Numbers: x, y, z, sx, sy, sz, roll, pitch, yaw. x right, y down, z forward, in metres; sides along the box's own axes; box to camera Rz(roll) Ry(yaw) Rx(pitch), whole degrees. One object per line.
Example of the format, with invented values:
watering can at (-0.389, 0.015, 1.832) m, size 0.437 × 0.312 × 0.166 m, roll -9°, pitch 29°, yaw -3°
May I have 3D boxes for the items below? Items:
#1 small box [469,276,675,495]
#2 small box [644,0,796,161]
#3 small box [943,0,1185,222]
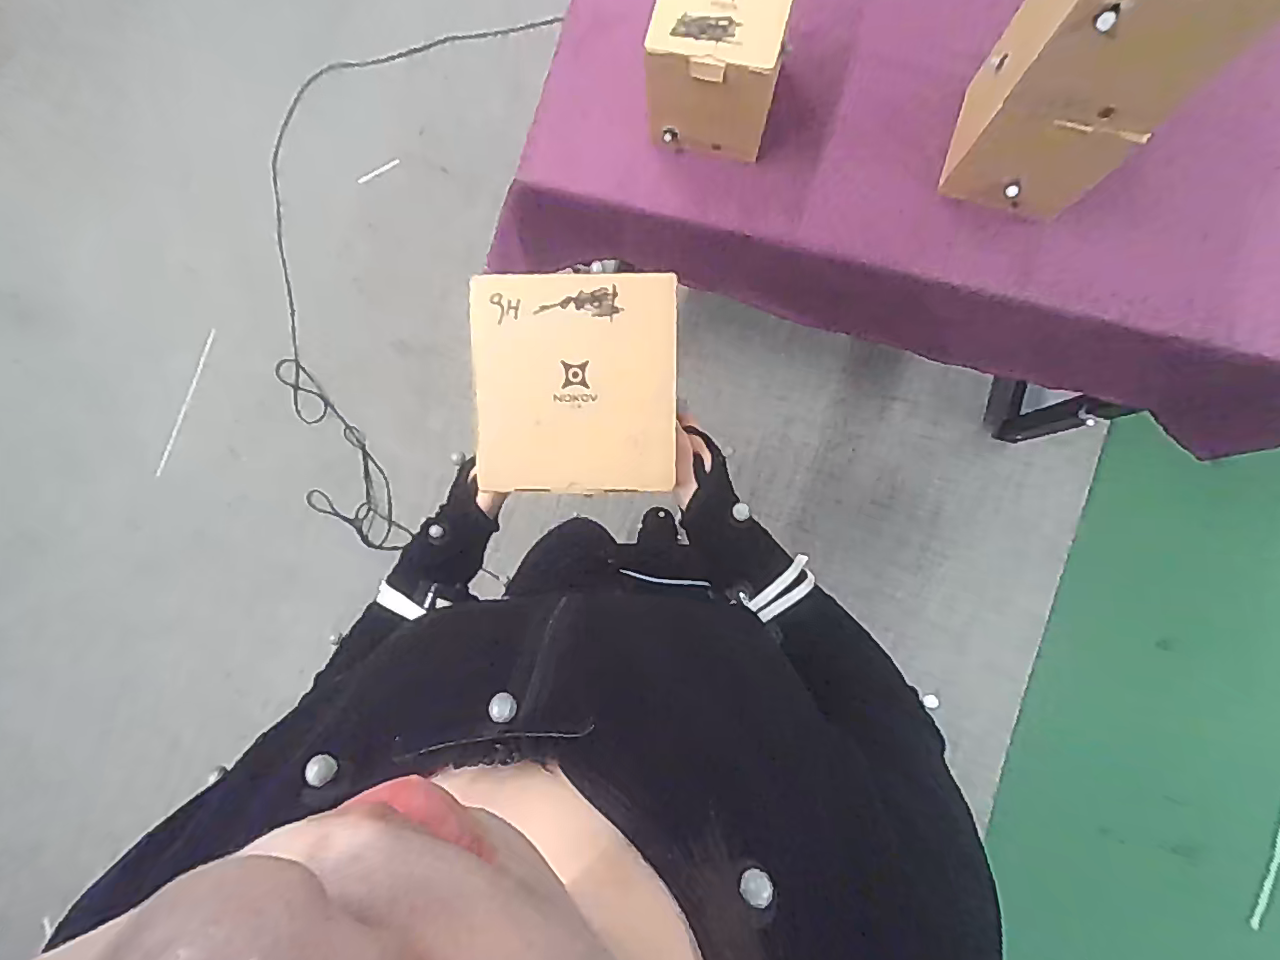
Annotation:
small box at (-0.051, -0.087, 0.515) m, size 0.168 × 0.176 × 0.179 m, roll 0°, pitch 98°, yaw 1°
small box at (0.111, -0.582, 0.744) m, size 0.168 × 0.176 × 0.179 m, roll 15°, pitch 86°, yaw 5°
small box at (0.530, -0.477, 0.703) m, size 0.168 × 0.176 × 0.179 m, roll 18°, pitch 87°, yaw 6°
